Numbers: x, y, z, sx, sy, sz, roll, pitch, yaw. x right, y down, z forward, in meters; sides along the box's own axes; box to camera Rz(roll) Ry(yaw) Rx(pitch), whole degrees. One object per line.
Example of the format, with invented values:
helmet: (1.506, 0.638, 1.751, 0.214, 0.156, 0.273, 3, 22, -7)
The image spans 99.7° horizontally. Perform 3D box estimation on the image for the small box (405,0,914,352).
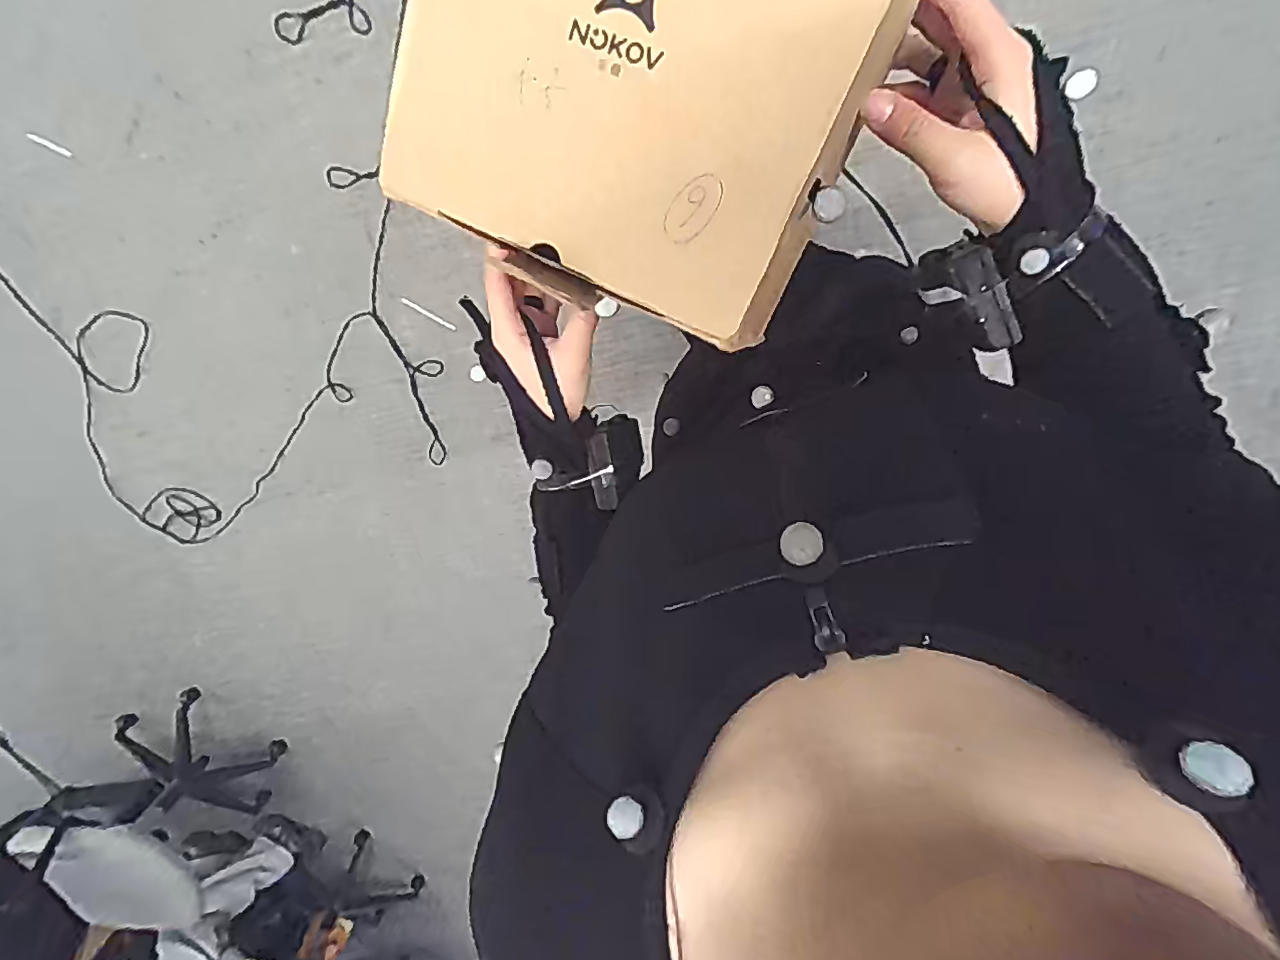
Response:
small box: (0.020, -0.180, 0.275, 0.168, 0.176, 0.179, 27, 110, 7)
